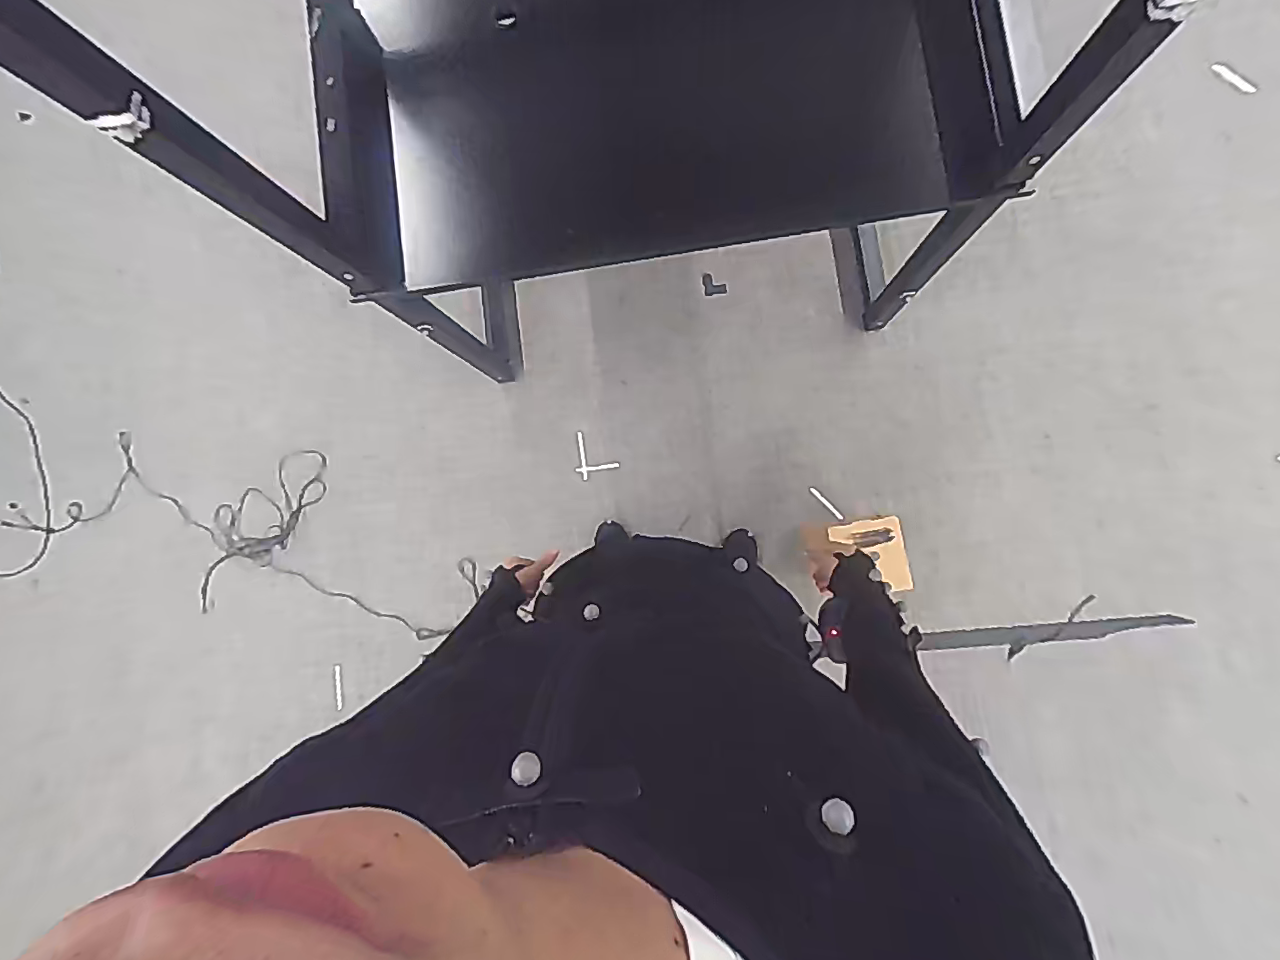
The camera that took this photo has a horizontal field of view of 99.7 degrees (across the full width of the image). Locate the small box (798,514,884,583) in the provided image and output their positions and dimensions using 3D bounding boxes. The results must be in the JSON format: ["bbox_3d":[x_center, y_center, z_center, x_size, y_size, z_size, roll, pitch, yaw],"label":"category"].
[{"bbox_3d":[0.553,0.185,1.508,0.179,0.176,0.168,-8,86,6],"label":"small box"}]
